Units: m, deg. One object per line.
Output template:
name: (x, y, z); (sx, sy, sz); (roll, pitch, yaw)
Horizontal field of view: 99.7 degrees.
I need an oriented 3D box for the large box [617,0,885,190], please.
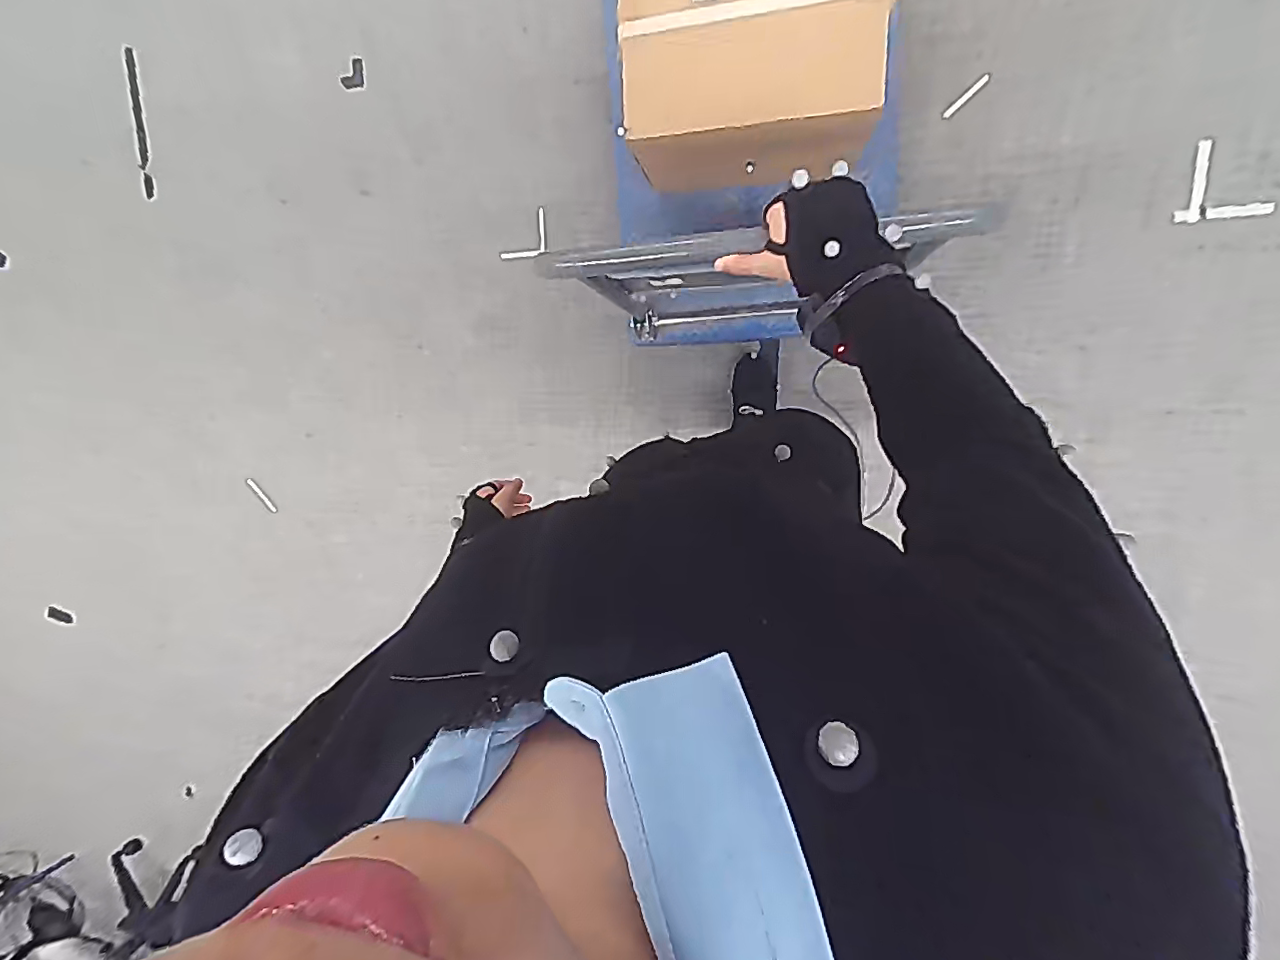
large box: (0.193, -0.744, 0.957); (0.408, 0.320, 0.320); (0, 101, 13)
